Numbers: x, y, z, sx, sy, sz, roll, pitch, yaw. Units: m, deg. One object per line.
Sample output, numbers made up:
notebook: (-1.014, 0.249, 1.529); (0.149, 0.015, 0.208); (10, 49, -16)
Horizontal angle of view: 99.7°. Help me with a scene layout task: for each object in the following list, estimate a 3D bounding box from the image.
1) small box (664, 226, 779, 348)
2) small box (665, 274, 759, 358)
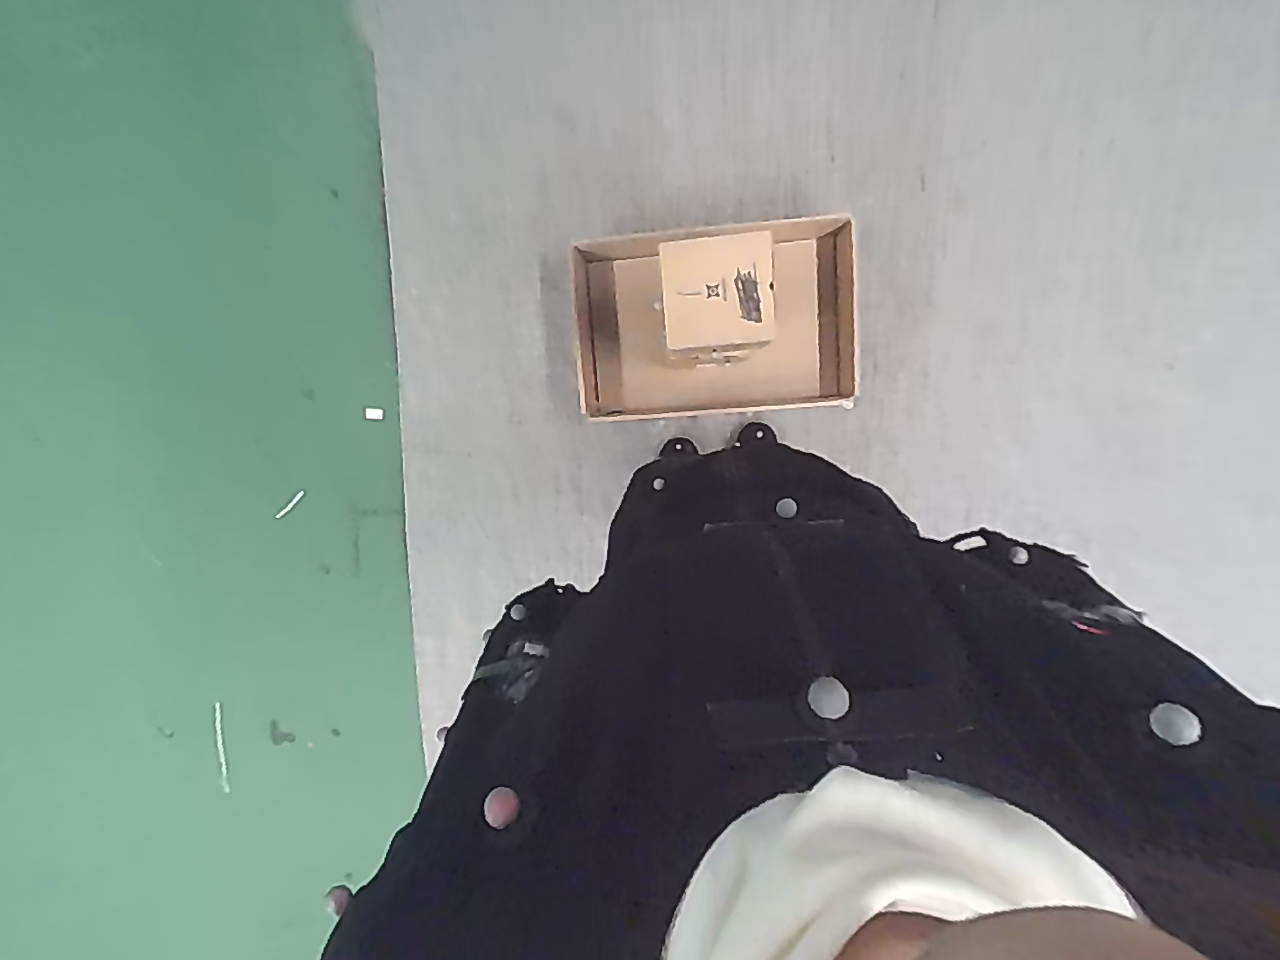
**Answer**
small box: (0.135, -0.320, 0.926); (0.179, 0.176, 0.168); (-4, 99, 7)
small box: (0.143, -0.338, 1.073); (0.168, 0.176, 0.179); (-5, 99, 7)
